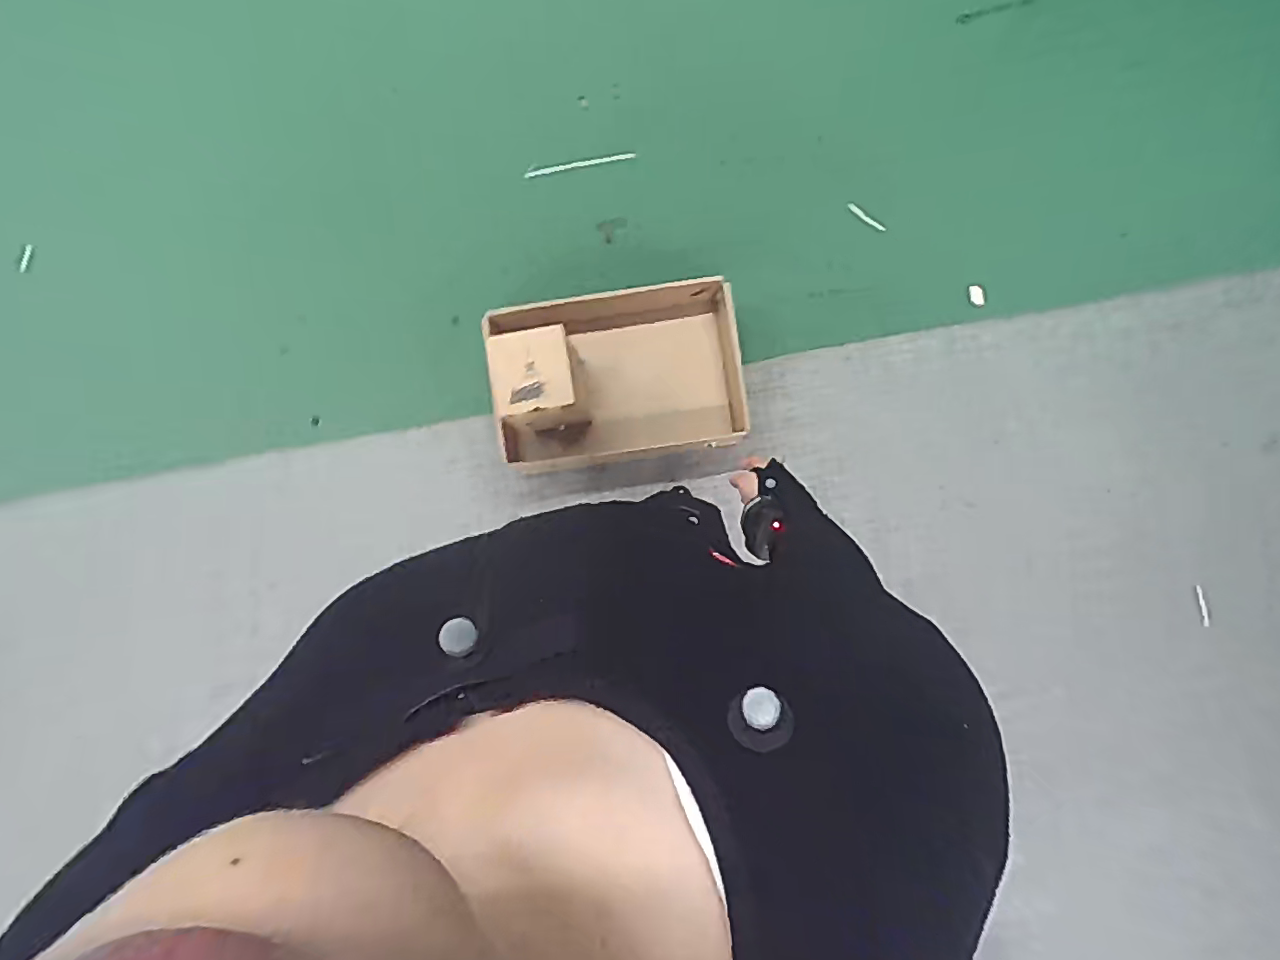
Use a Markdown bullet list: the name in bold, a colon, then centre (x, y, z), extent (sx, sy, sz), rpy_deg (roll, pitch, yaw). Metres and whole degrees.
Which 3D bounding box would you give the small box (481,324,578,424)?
- **small box**: centre (-0.237, -0.226, 1.202), extent (0.168, 0.176, 0.179), rpy_deg (-10, 88, -1)

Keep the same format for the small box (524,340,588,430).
- **small box**: centre (-0.233, -0.234, 1.366), extent (0.168, 0.176, 0.179), rpy_deg (-11, 89, 0)
